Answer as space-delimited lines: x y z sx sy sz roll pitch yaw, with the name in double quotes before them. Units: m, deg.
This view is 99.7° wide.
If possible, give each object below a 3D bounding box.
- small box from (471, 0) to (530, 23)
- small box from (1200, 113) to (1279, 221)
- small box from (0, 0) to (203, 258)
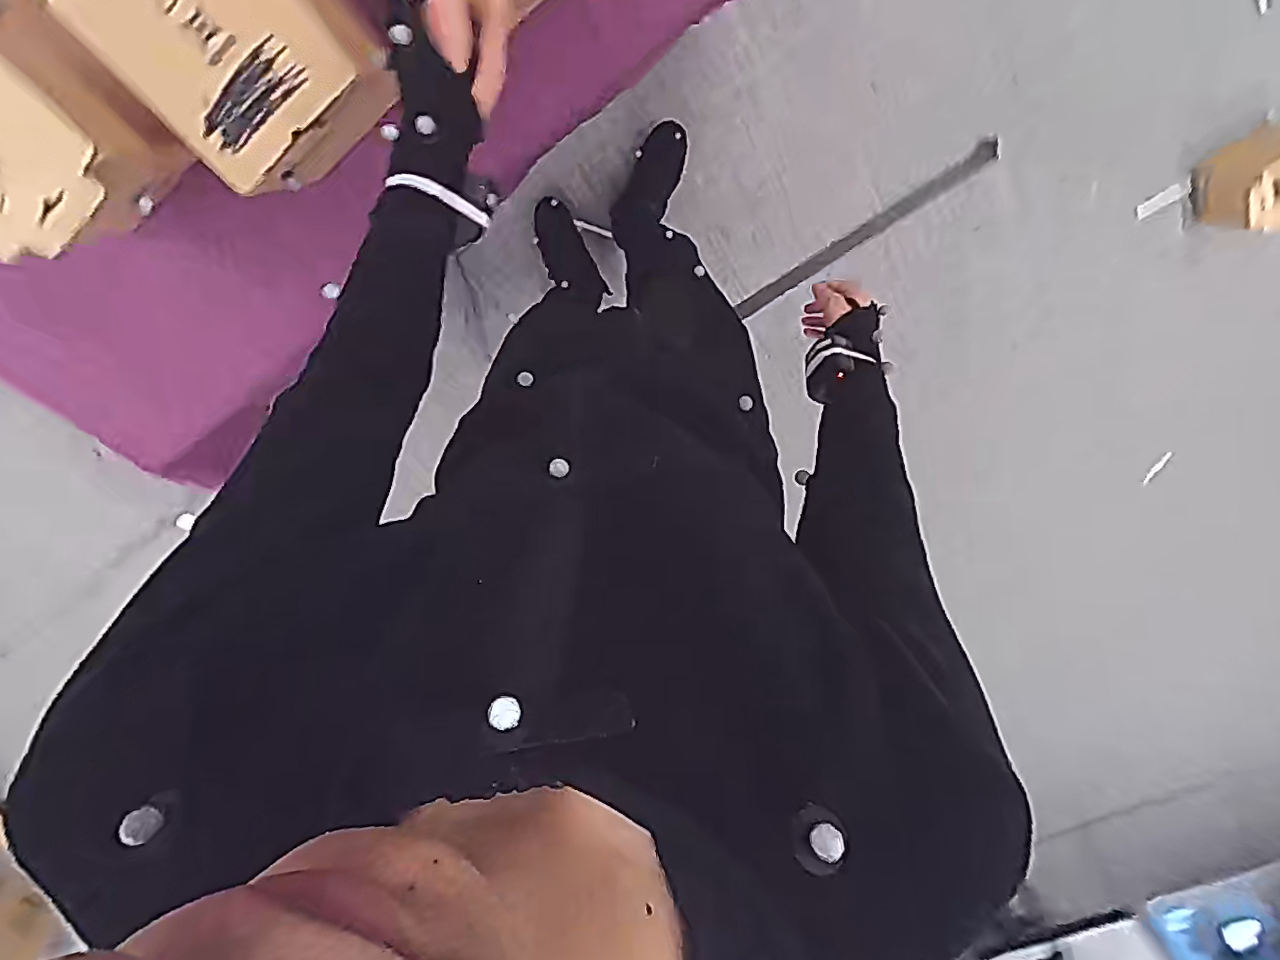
"small box" -0.134 -0.542 0.458 0.168 0.176 0.179 -34 121 16
"small box" 1.568 -0.787 1.358 0.179 0.176 0.168 -34 121 15
"small box" -0.602 -0.355 0.532 0.168 0.176 0.179 -32 121 15
